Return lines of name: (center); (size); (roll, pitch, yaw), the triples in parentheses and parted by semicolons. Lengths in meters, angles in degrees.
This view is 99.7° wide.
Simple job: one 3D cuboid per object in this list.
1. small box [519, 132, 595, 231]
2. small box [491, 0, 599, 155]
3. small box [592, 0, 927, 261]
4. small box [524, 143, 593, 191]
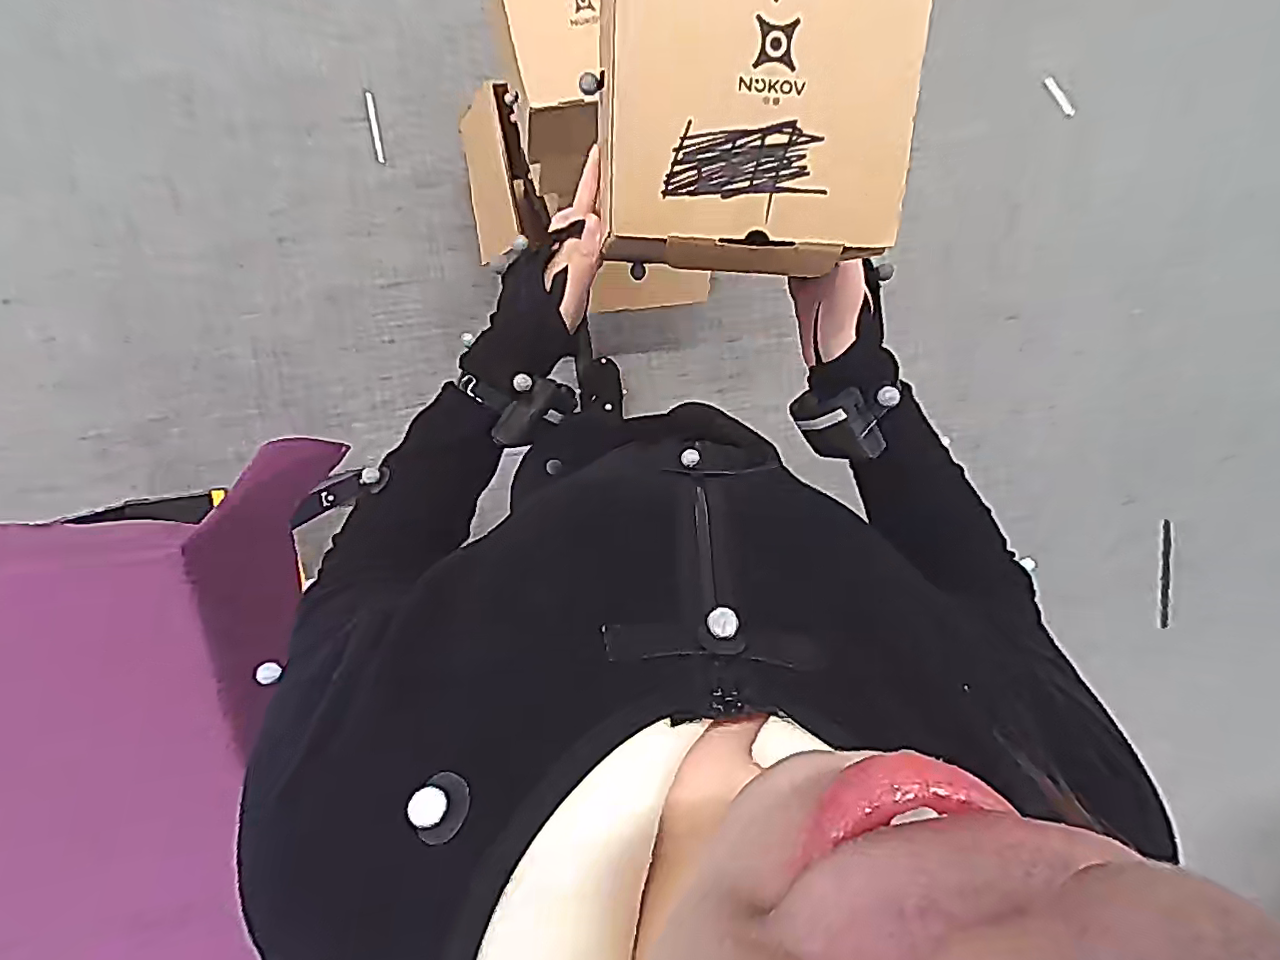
small box: (-0.130, -0.640, 1.106); (0.179, 0.176, 0.168); (-30, 106, -5)
small box: (-0.074, -0.507, 0.633); (0.168, 0.176, 0.179); (-15, 105, -9)
small box: (0.056, -0.243, 0.353); (0.168, 0.176, 0.179); (0, 108, -7)
small box: (-0.090, -0.545, 0.792); (0.179, 0.176, 0.168); (-16, 106, -8)
